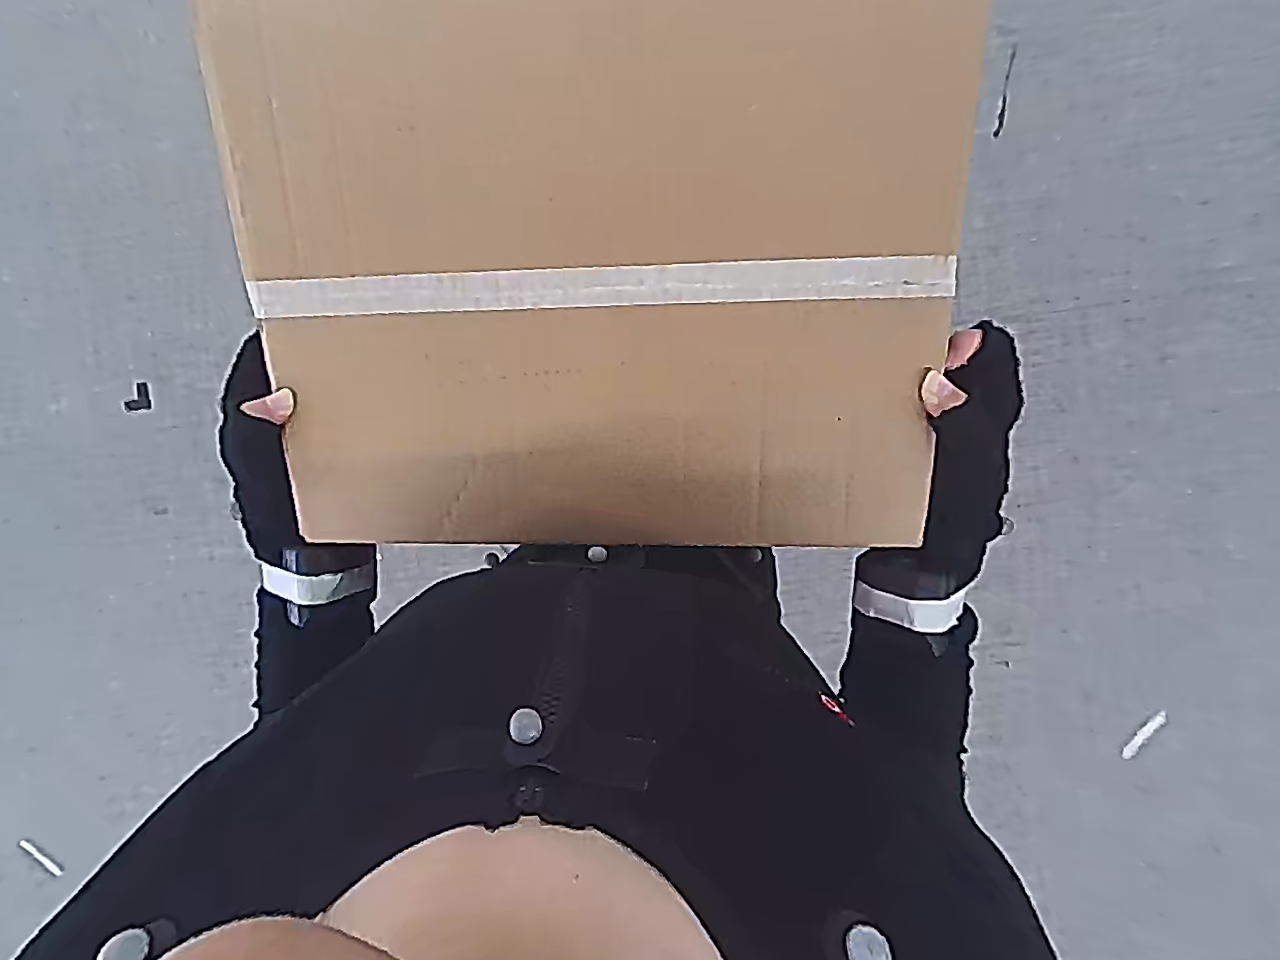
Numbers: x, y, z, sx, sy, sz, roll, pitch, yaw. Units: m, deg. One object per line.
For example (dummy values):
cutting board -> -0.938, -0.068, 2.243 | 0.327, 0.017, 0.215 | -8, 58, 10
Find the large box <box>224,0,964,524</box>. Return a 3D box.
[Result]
large box -> -0.020, -0.160, 0.463 | 0.408, 0.320, 0.320 | 0, 106, 4
